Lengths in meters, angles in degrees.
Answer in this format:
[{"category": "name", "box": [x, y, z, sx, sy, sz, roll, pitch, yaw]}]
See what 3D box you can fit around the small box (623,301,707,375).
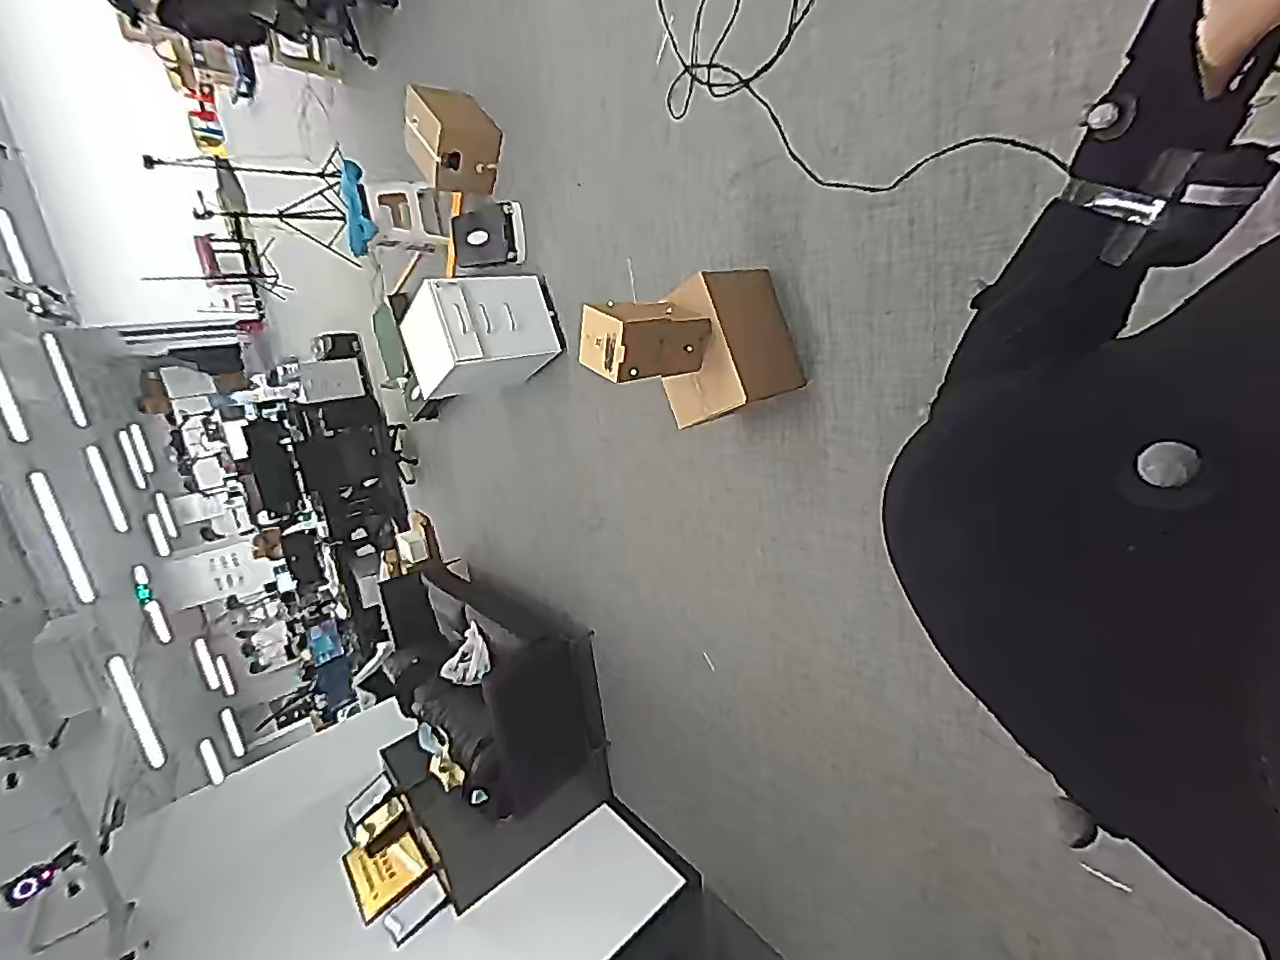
[{"category": "small box", "box": [0.074, -0.429, 1.605, 0.179, 0.176, 0.168, 34, 129, 36]}]
